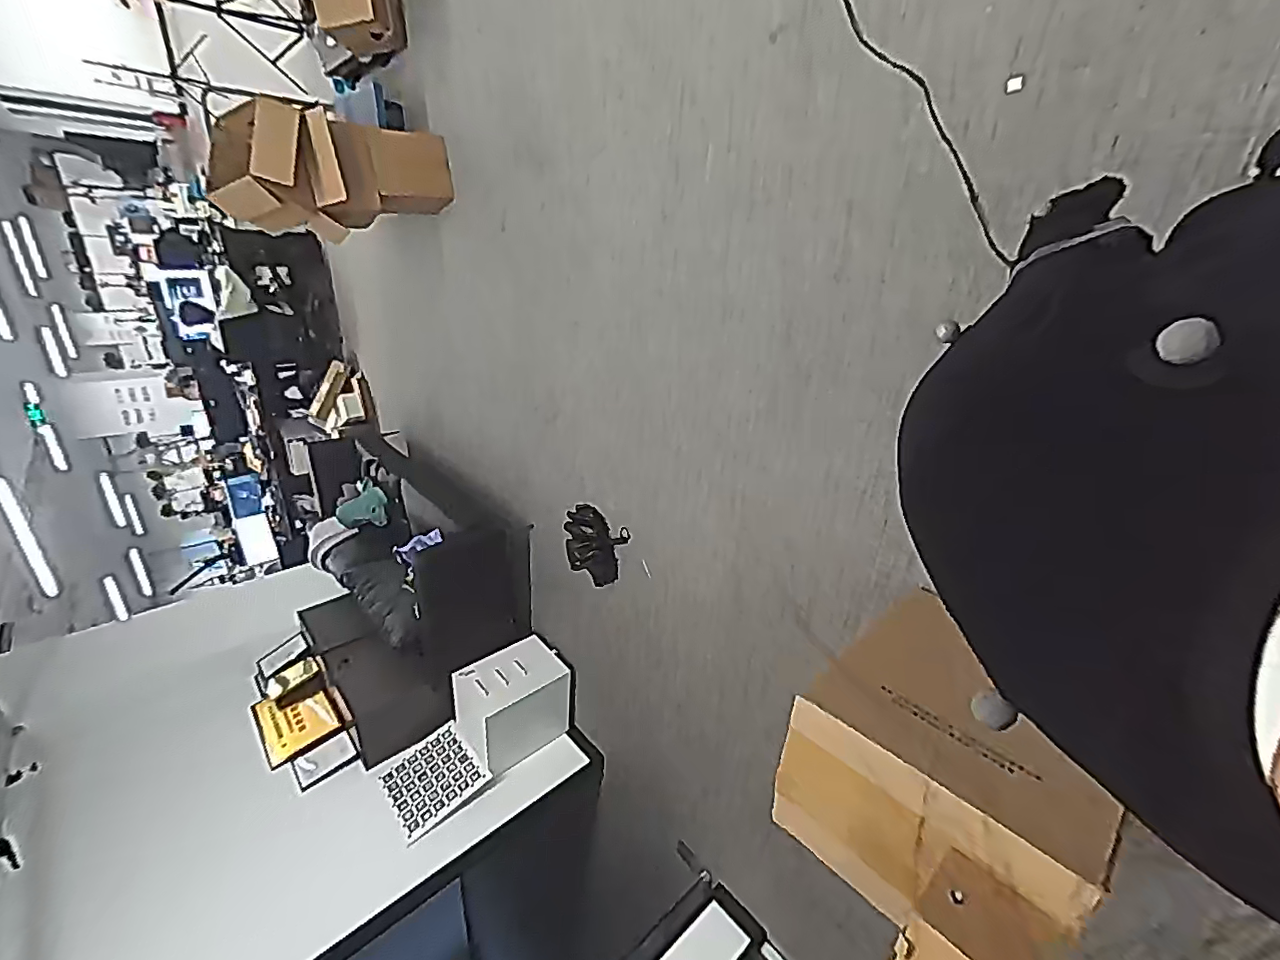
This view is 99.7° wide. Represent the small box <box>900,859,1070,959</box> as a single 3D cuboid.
[{"bbox_3d":[0.547,0.759,0.867,0.179,0.176,0.168,22,116,41],"label":"small box"}]
